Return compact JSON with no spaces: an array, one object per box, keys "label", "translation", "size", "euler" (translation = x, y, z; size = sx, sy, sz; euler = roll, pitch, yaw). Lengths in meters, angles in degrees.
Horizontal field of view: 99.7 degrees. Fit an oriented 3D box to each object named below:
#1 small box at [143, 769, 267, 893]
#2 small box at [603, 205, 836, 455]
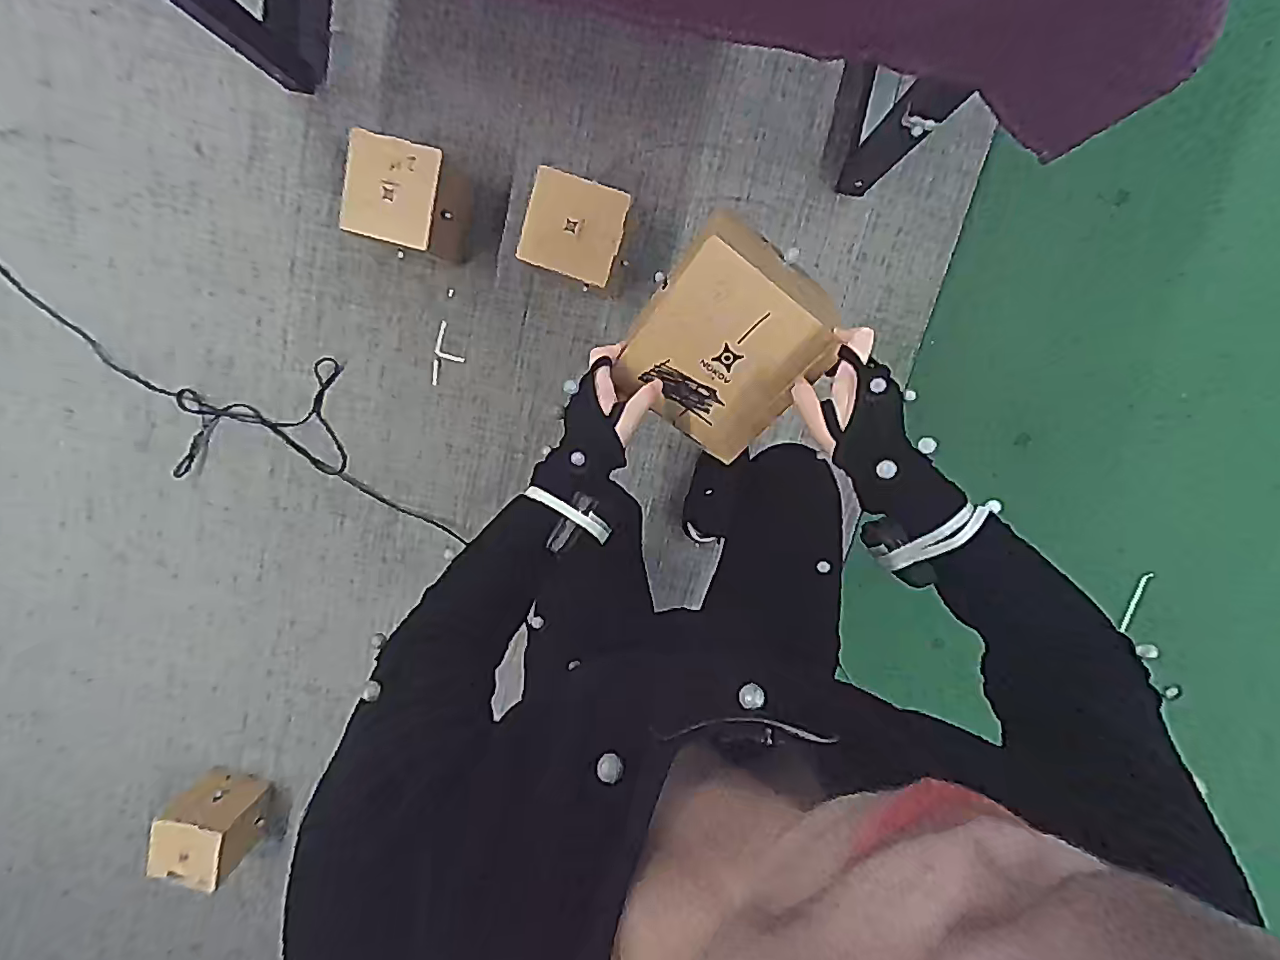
[{"label":"small box","translation":[-1.068,0.860,1.342],"size":[0.168,0.176,0.179],"euler":[17,101,0]},{"label":"small box","translation":[0.088,-0.168,0.597],"size":[0.168,0.176,0.179],"euler":[34,125,-13]}]
